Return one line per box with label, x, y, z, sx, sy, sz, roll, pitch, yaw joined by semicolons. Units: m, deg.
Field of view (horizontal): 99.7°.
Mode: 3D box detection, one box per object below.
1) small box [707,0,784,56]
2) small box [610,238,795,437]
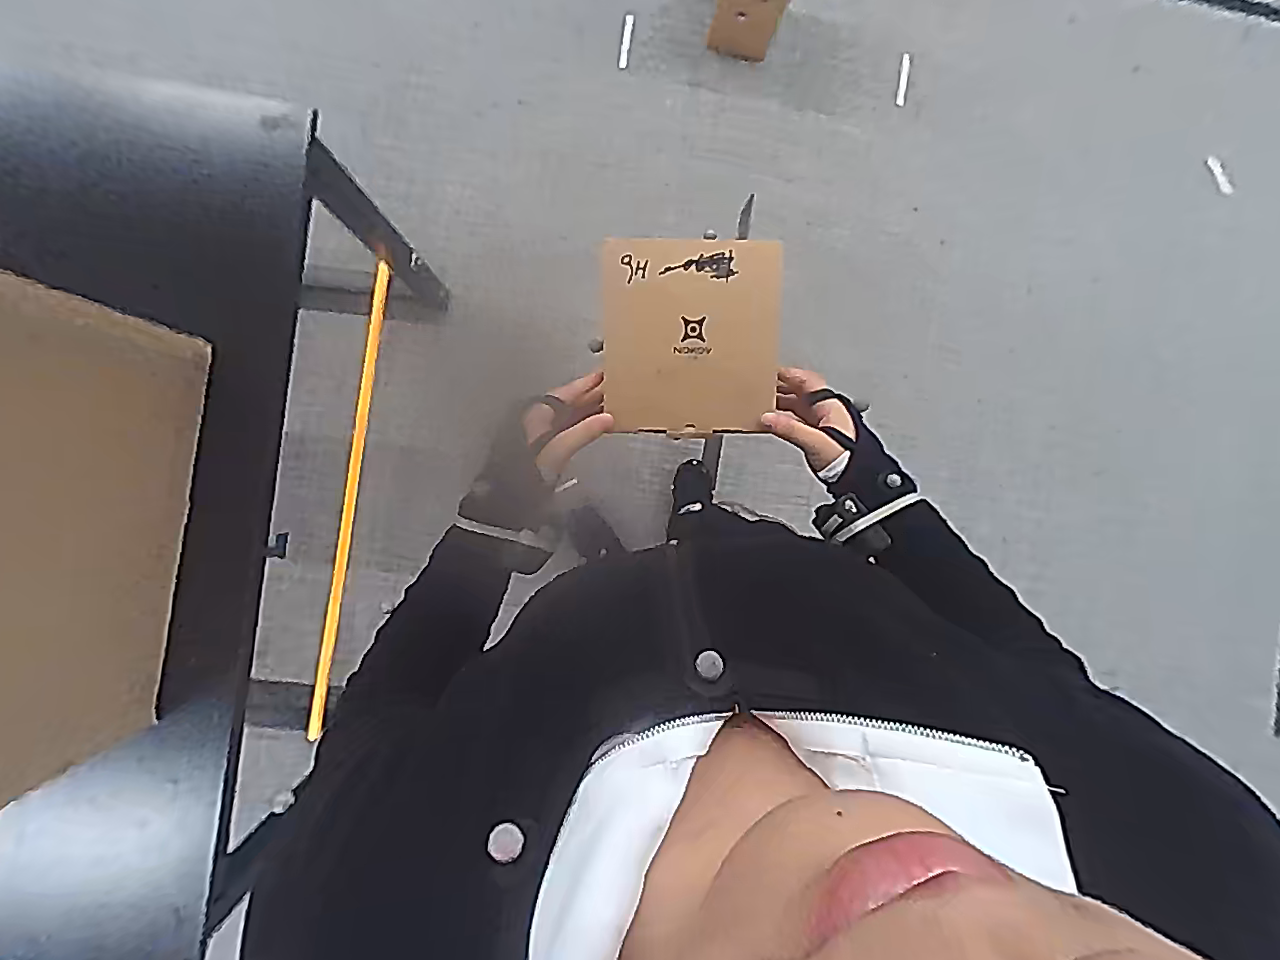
small box;0.288;-1.279;1.435;0.179;0.176;0.168;11;90;-5
small box;0.053;-0.145;0.577;0.168;0.176;0.179;0;102;-3
